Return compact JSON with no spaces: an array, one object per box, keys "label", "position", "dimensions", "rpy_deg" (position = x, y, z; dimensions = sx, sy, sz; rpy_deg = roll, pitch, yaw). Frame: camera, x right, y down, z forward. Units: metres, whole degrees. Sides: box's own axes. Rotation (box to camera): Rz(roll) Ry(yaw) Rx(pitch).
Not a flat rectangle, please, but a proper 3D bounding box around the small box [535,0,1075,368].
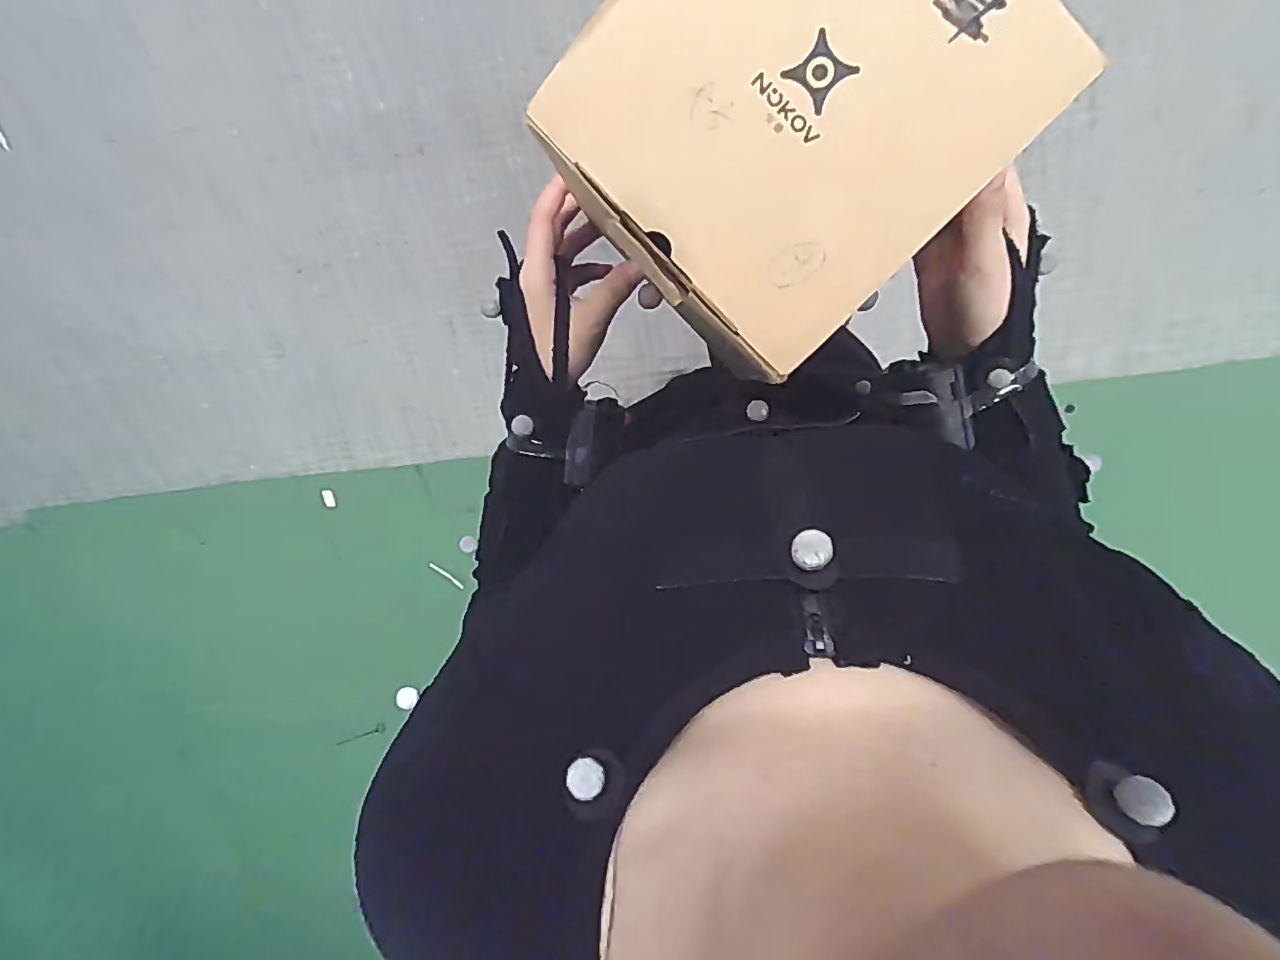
[{"label":"small box","position":[0.074,-0.182,0.314],"dimensions":[0.168,0.176,0.179],"rpy_deg":[44,102,-4]}]
